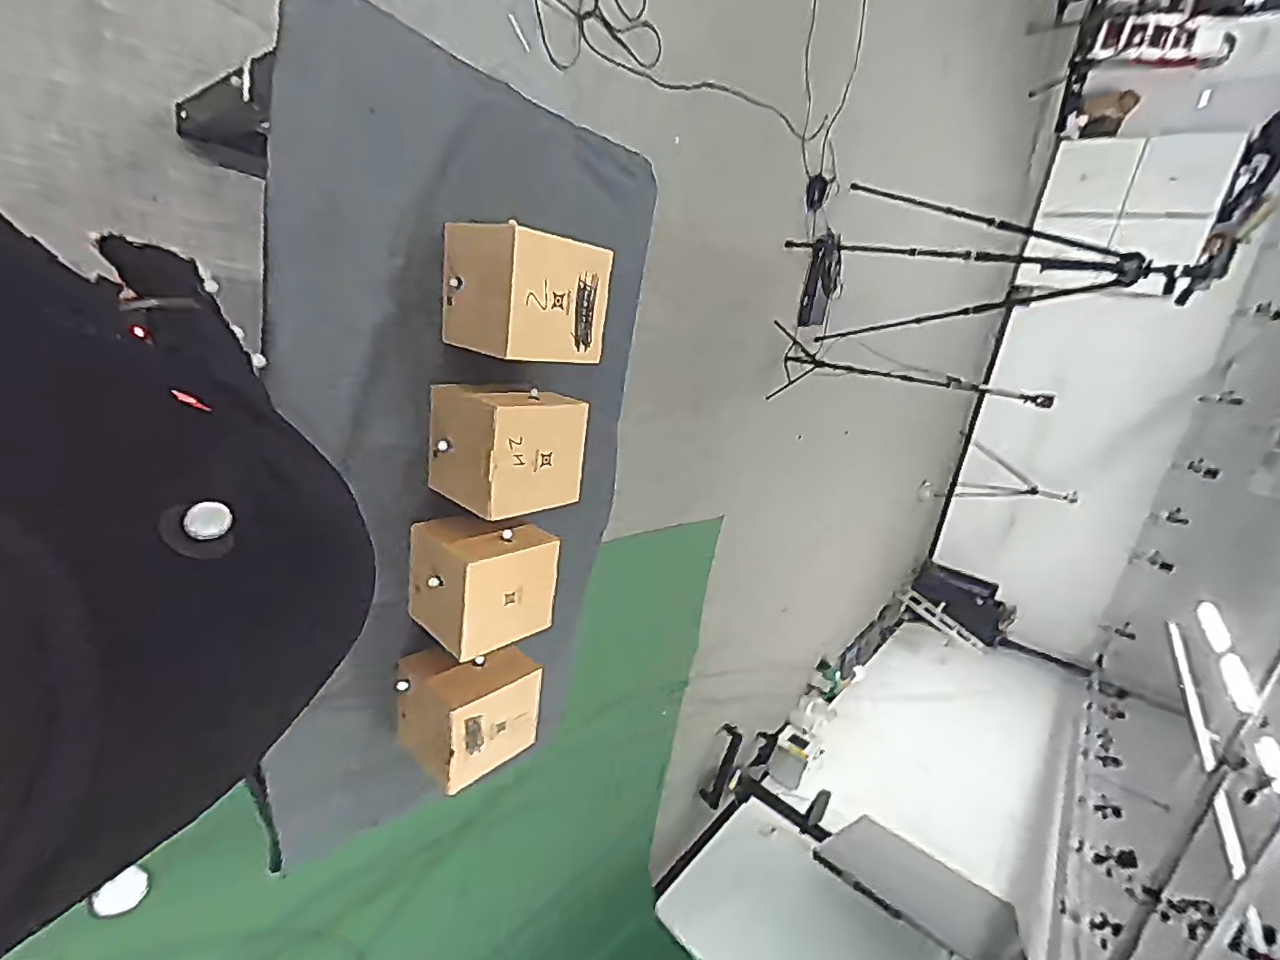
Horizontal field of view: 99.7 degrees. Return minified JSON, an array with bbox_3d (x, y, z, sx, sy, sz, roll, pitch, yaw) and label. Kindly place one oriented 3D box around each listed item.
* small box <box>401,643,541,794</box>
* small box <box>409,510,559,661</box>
[{"bbox_3d":[-0.300,0.391,0.948,0.179,0.176,0.168,-12,116,-50],"label":"small box"},{"bbox_3d":[-0.260,0.161,0.890,0.179,0.176,0.168,-11,115,-49],"label":"small box"}]
